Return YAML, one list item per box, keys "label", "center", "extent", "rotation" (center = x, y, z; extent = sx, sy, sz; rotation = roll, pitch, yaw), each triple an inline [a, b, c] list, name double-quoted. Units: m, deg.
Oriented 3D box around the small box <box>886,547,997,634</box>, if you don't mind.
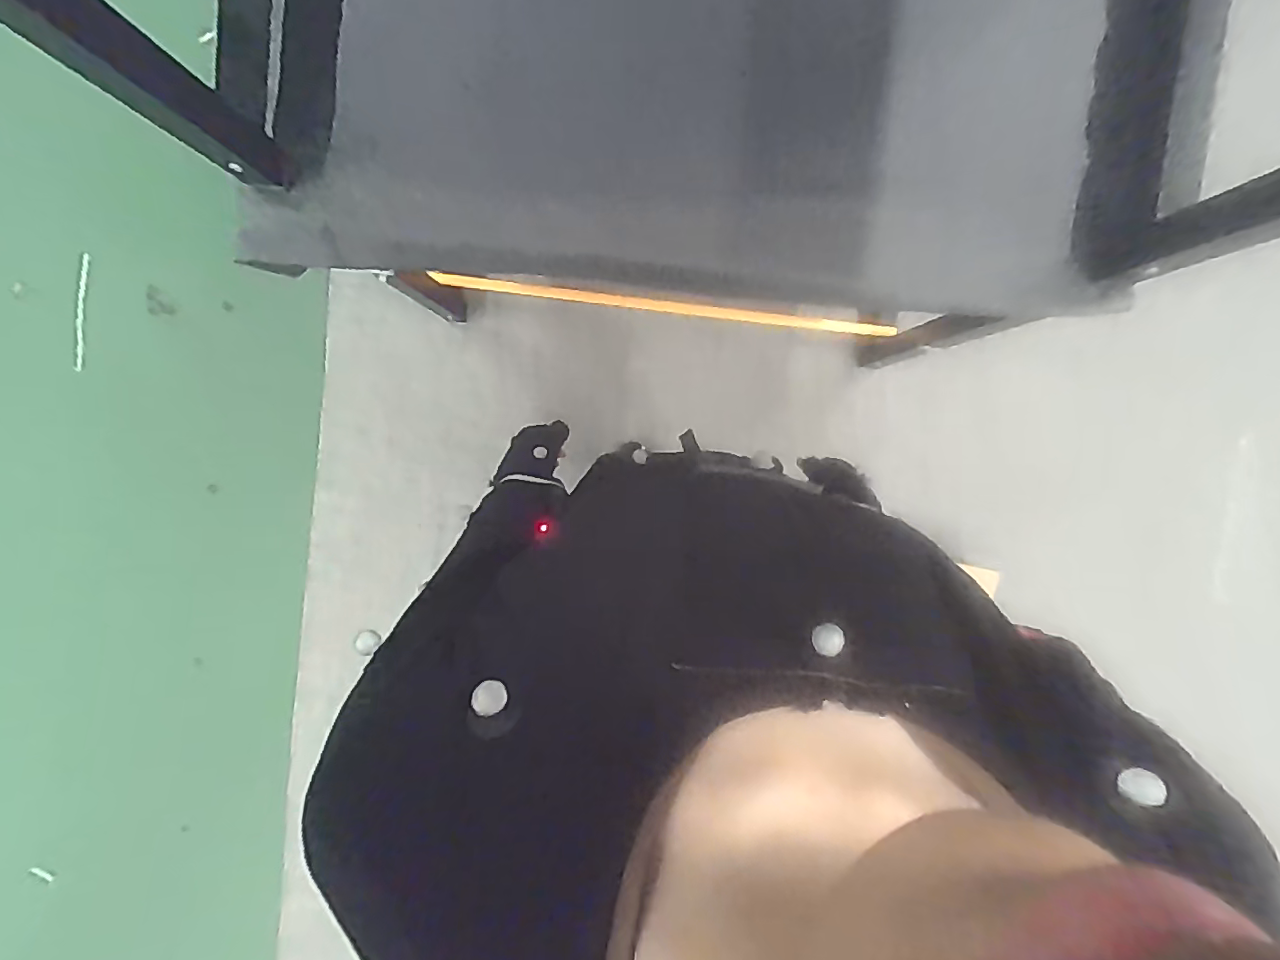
- label: "small box"
  center: [0.786, 0.283, 1.426]
  extent: [0.179, 0.176, 0.168]
  rotation: [13, 93, 0]
